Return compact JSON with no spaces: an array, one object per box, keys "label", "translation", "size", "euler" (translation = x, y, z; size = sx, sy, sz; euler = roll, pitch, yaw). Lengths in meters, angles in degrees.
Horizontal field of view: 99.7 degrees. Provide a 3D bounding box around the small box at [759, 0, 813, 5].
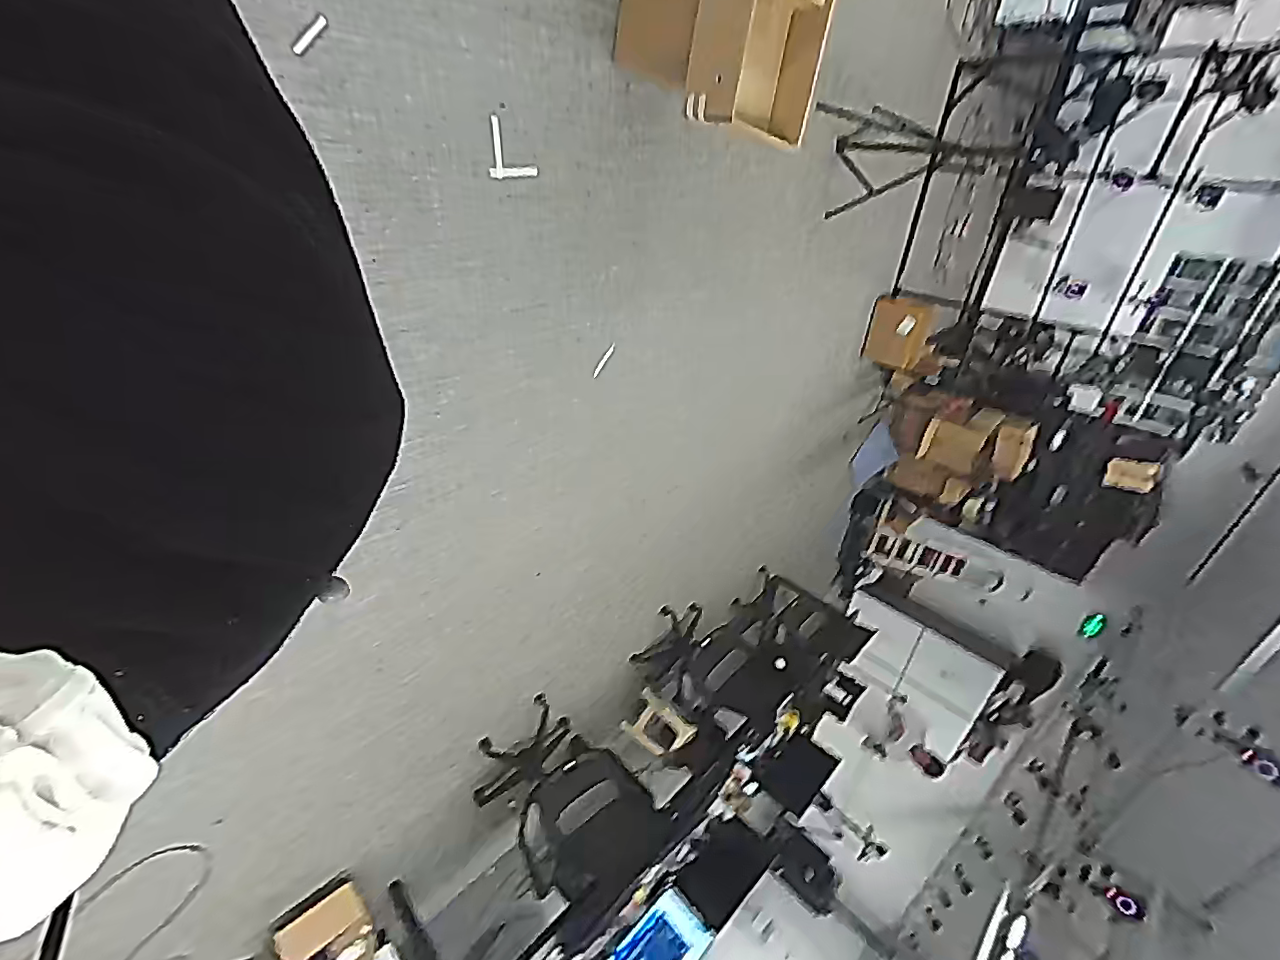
[{"label":"small box","translation":[0.397,-1.436,1.470],"size":[0.168,0.176,0.179],"euler":[-20,129,-43]}]
